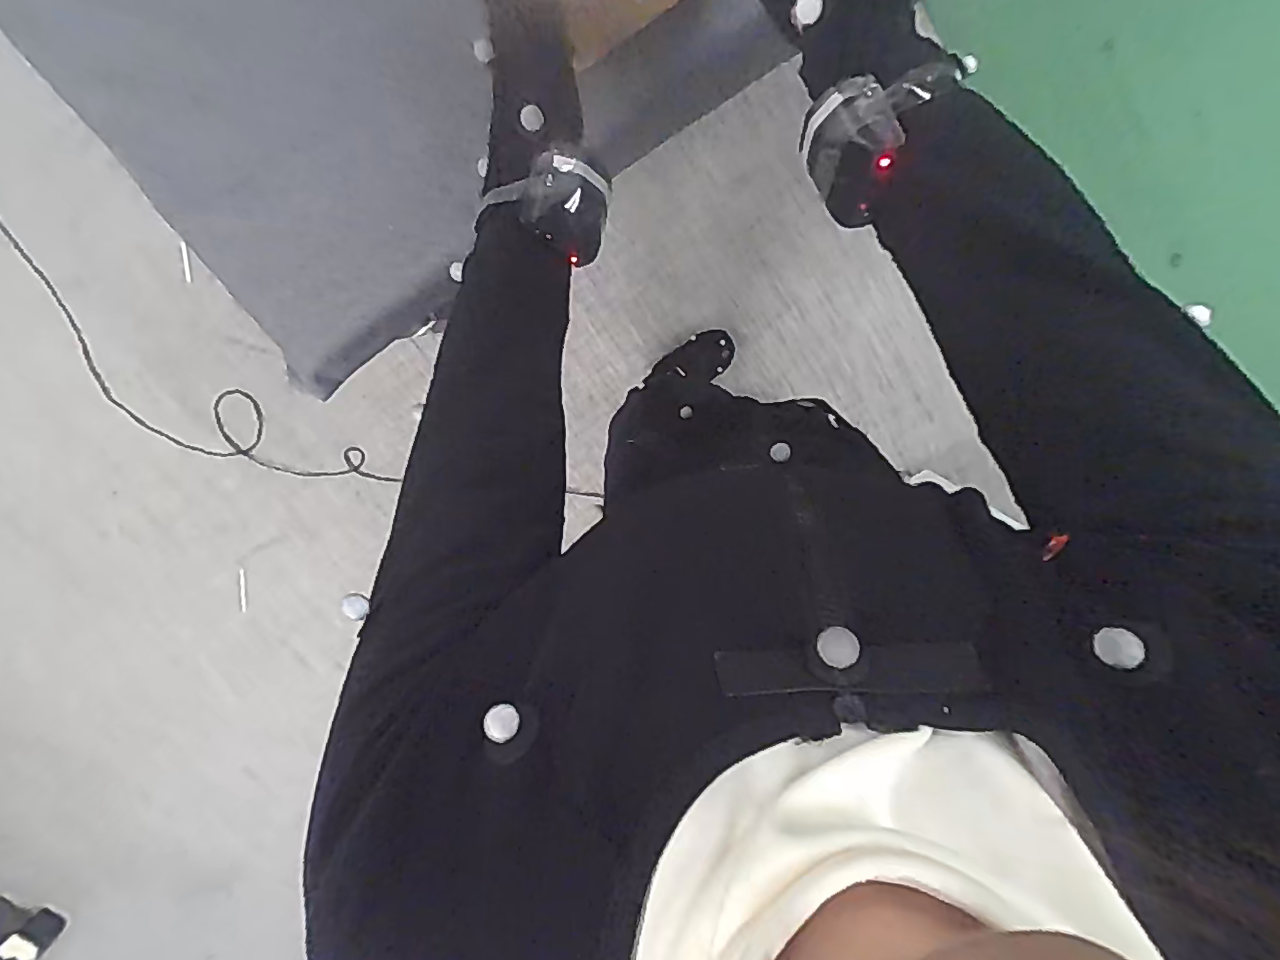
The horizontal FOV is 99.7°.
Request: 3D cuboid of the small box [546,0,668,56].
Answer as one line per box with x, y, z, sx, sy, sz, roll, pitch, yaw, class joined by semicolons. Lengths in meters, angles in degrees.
-0.030;-0.487;0.423;0.179;0.176;0.168;-27;108;16;small box
